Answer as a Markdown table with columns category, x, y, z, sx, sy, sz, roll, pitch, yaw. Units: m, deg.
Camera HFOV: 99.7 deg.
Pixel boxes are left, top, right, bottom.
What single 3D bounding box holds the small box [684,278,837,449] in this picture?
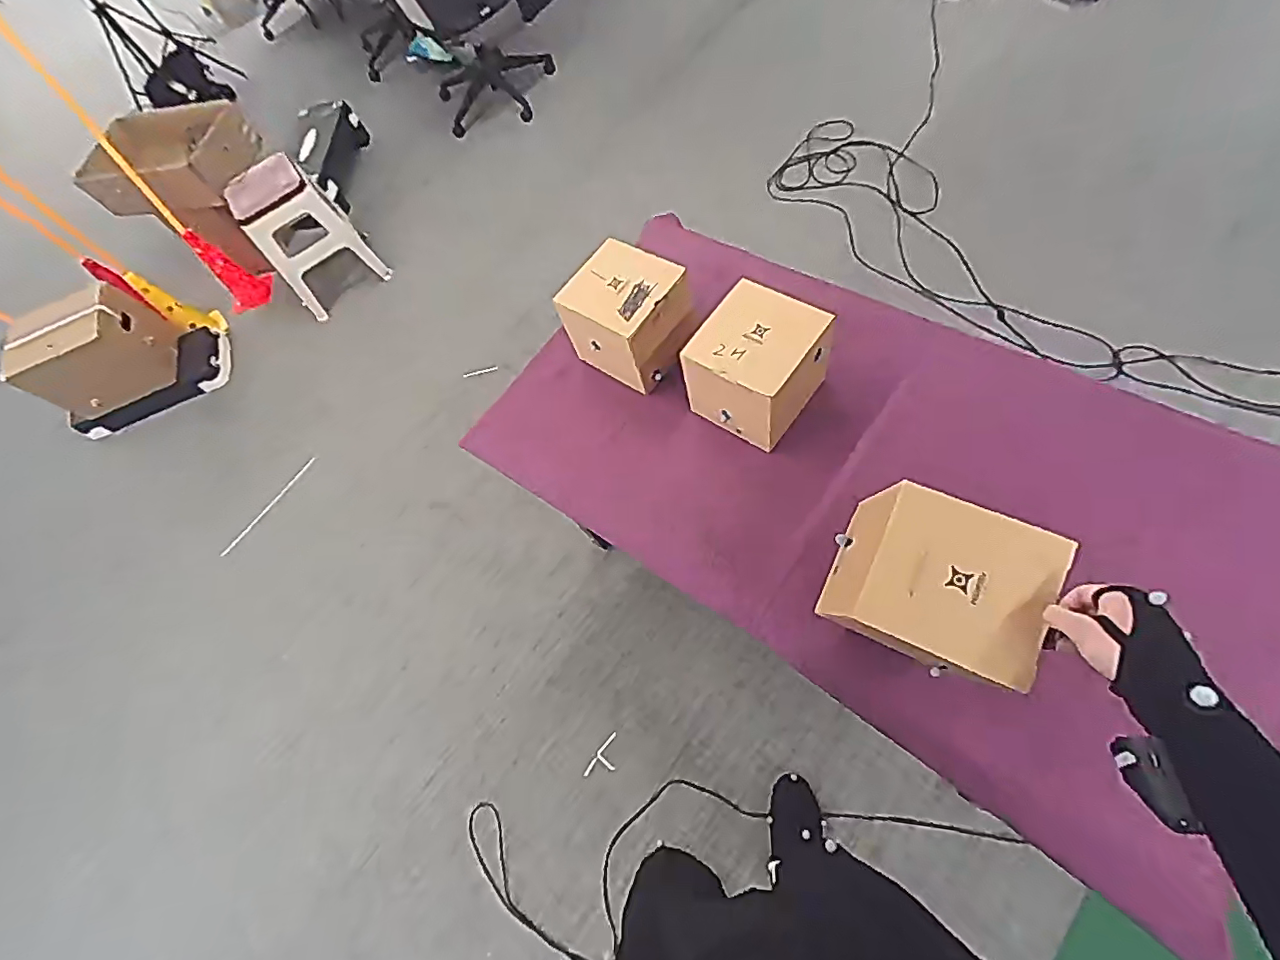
| category | x | y | z | sx | sy | sz | roll | pitch | yaw |
| --- | --- | --- | --- | --- | --- | --- | --- | --- | --- |
| small box | 0.193 | -0.184 | 0.882 | 0.168 | 0.176 | 0.179 | 33 | 77 | 24 |

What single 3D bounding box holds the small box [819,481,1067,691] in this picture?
| category | x | y | z | sx | sy | sz | roll | pitch | yaw |
| --- | --- | --- | --- | --- | --- | --- | --- | --- | --- |
| small box | 0.340 | 0.121 | 0.643 | 0.179 | 0.176 | 0.168 | 24 | 81 | 9 |

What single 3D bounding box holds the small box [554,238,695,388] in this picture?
| category | x | y | z | sx | sy | sz | roll | pitch | yaw |
| --- | --- | --- | --- | --- | --- | --- | --- | --- | --- |
| small box | -0.017 | -0.293 | 0.978 | 0.179 | 0.176 | 0.168 | 33 | 76 | 24 |
